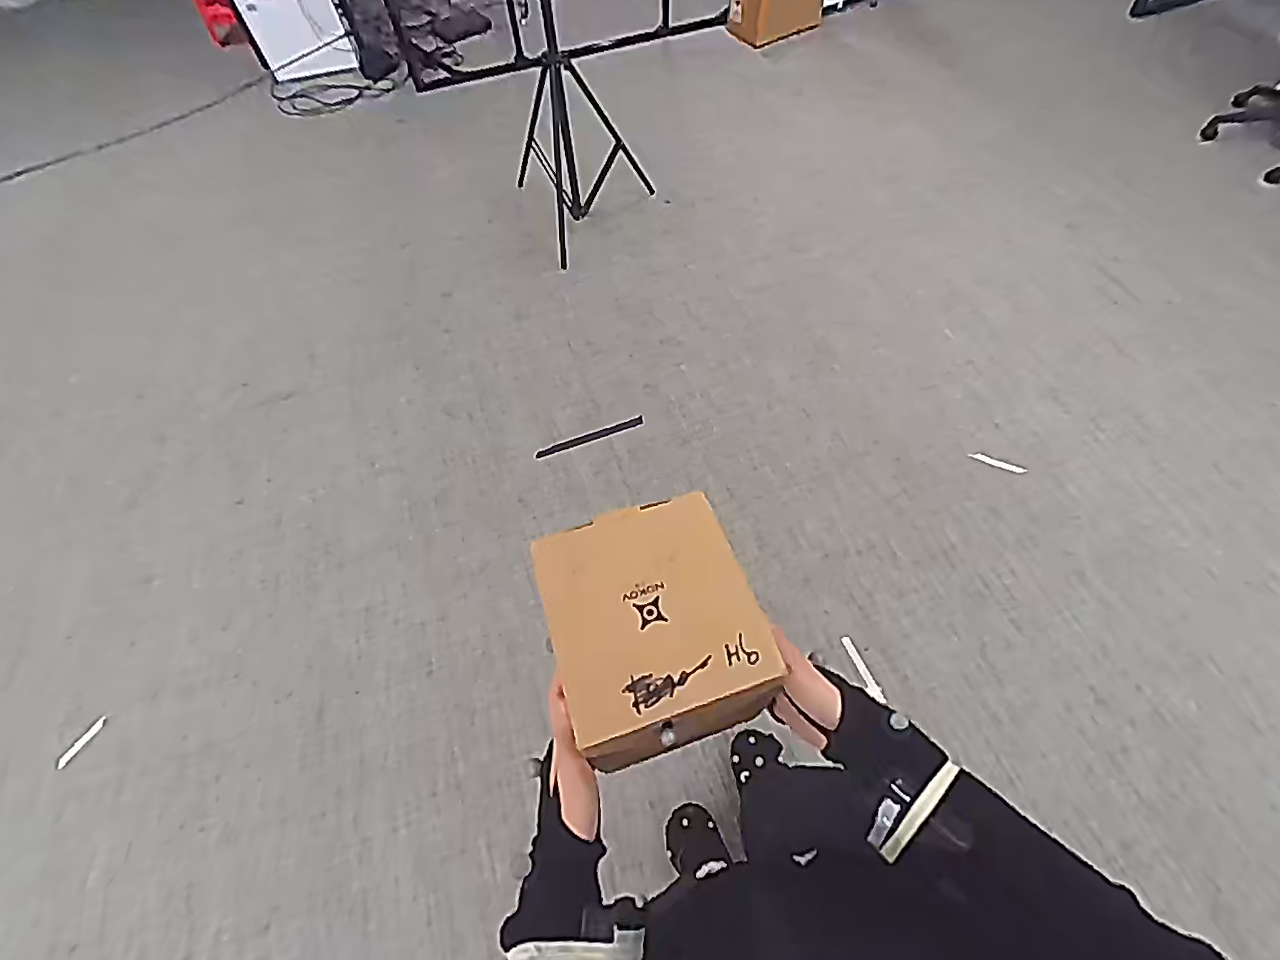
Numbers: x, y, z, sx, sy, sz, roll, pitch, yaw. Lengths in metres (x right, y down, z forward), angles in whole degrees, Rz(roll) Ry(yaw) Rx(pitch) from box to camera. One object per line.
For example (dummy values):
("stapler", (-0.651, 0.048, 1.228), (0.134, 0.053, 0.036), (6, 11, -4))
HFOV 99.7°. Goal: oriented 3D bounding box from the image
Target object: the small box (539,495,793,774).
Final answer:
("small box", (0.015, 0.146, 0.503), (0.168, 0.176, 0.179), (-17, 56, -8))
